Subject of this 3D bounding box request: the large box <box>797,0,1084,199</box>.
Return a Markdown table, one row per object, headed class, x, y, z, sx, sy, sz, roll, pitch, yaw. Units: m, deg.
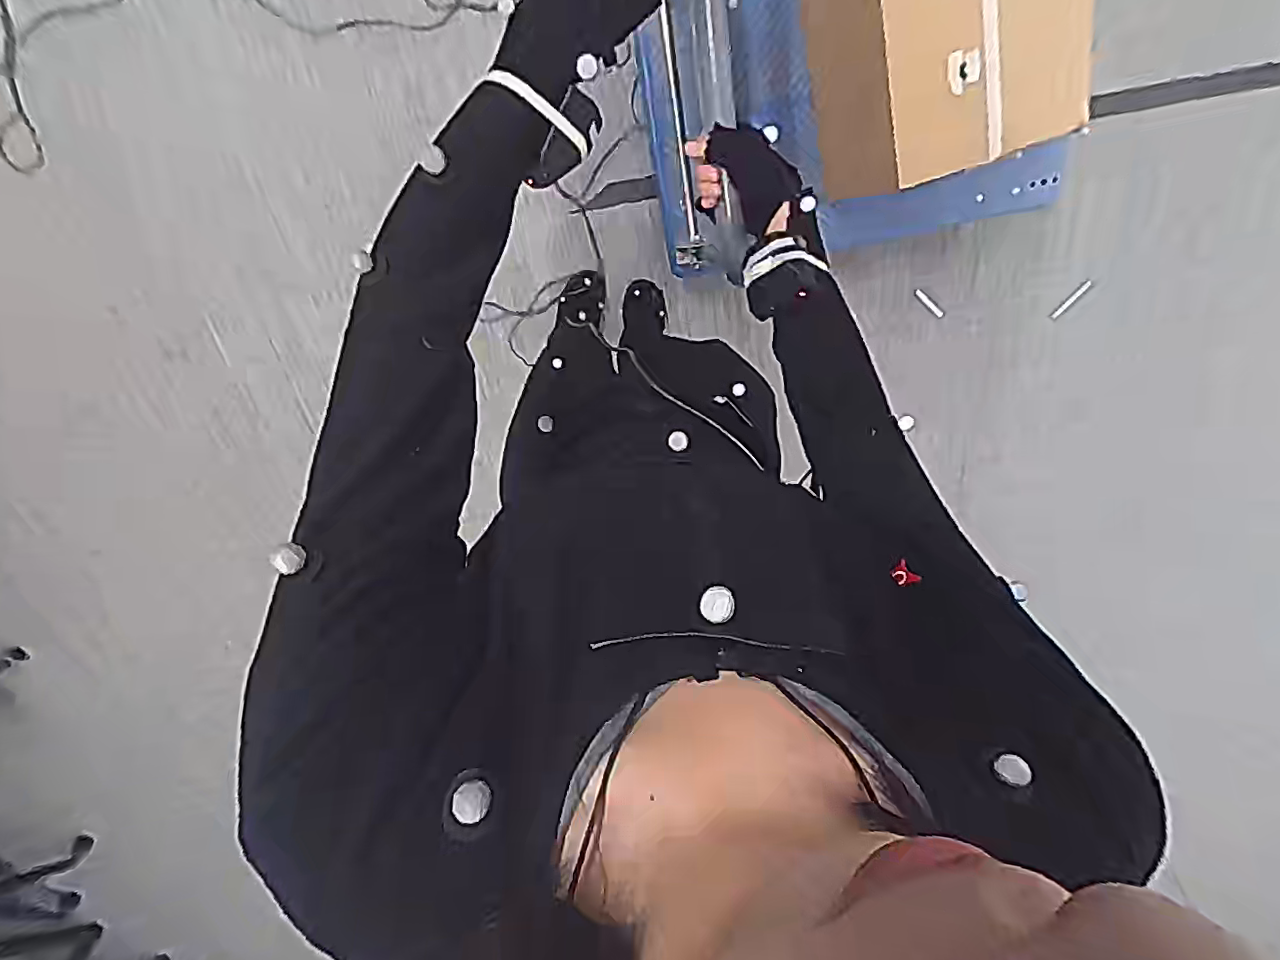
| class | x | y | z | sx | sy | sz | roll | pitch | yaw |
| --- | --- | --- | --- | --- | --- | --- | --- | --- | --- |
| large box | 0.500 | -0.760 | 0.941 | 0.320 | 0.320 | 0.408 | -18 | 114 | 4 |
